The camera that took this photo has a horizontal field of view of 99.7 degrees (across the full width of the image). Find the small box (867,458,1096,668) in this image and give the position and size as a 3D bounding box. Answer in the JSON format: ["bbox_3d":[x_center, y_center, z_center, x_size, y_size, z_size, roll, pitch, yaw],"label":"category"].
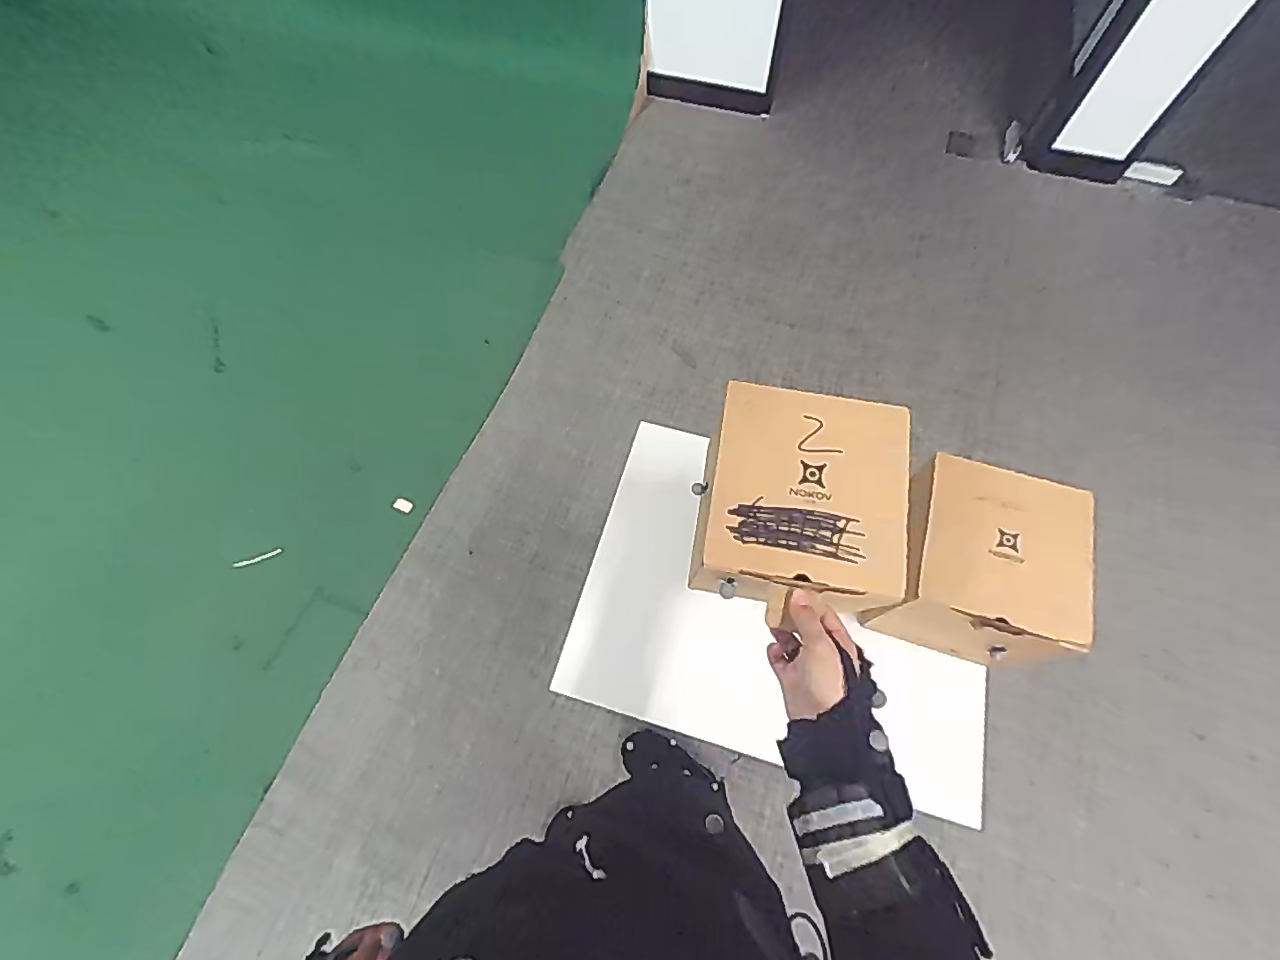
[{"bbox_3d":[0.379,0.105,0.626,0.168,0.176,0.179,16,66,8],"label":"small box"}]
